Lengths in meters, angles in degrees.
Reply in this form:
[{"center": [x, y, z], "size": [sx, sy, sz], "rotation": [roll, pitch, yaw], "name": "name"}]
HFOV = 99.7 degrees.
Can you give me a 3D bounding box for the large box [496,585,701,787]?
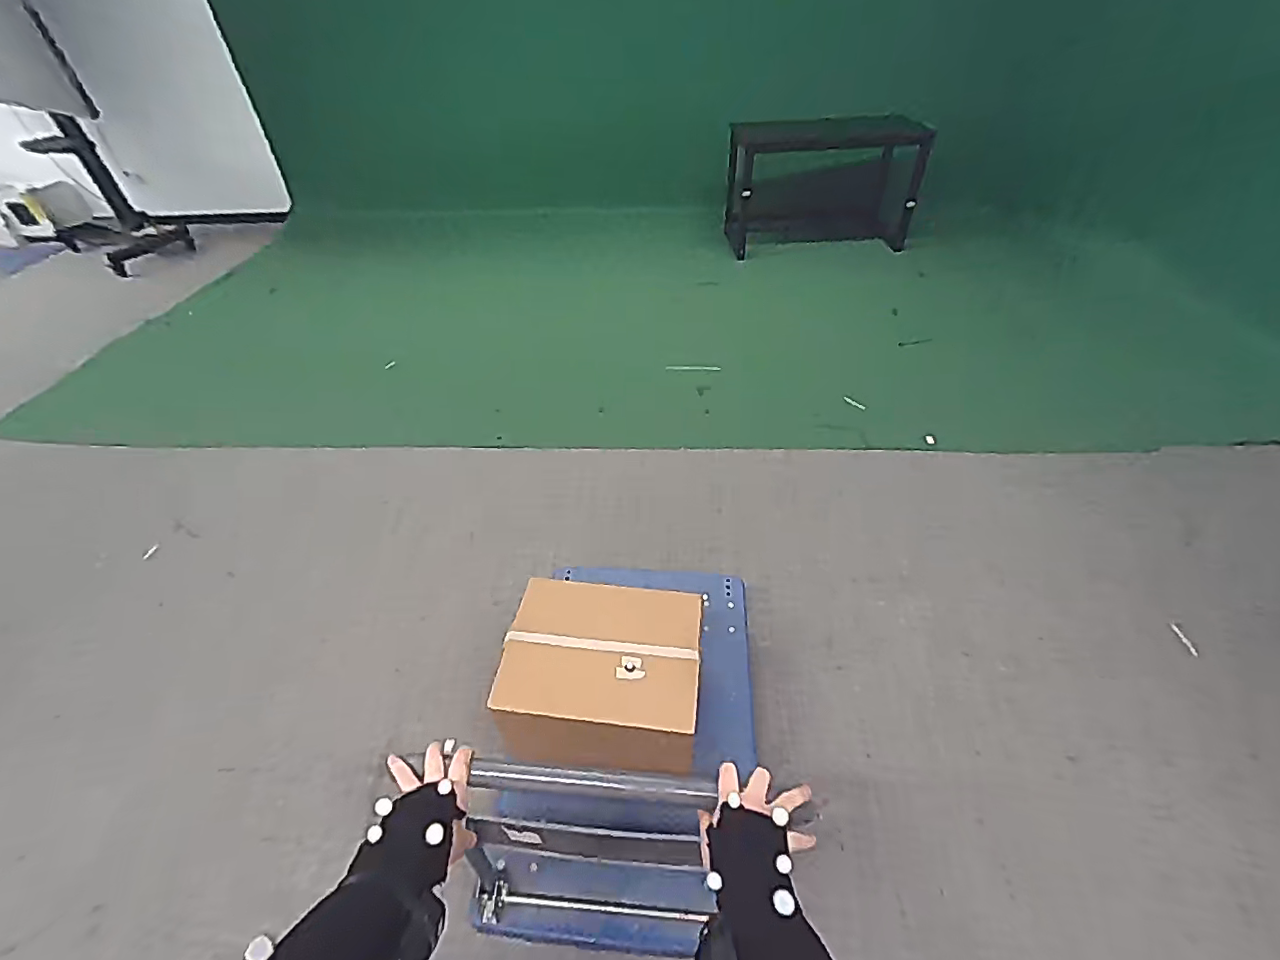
[{"center": [-0.074, 0.473, 1.252], "size": [0.408, 0.320, 0.320], "rotation": [5, 43, 5], "name": "large box"}]
